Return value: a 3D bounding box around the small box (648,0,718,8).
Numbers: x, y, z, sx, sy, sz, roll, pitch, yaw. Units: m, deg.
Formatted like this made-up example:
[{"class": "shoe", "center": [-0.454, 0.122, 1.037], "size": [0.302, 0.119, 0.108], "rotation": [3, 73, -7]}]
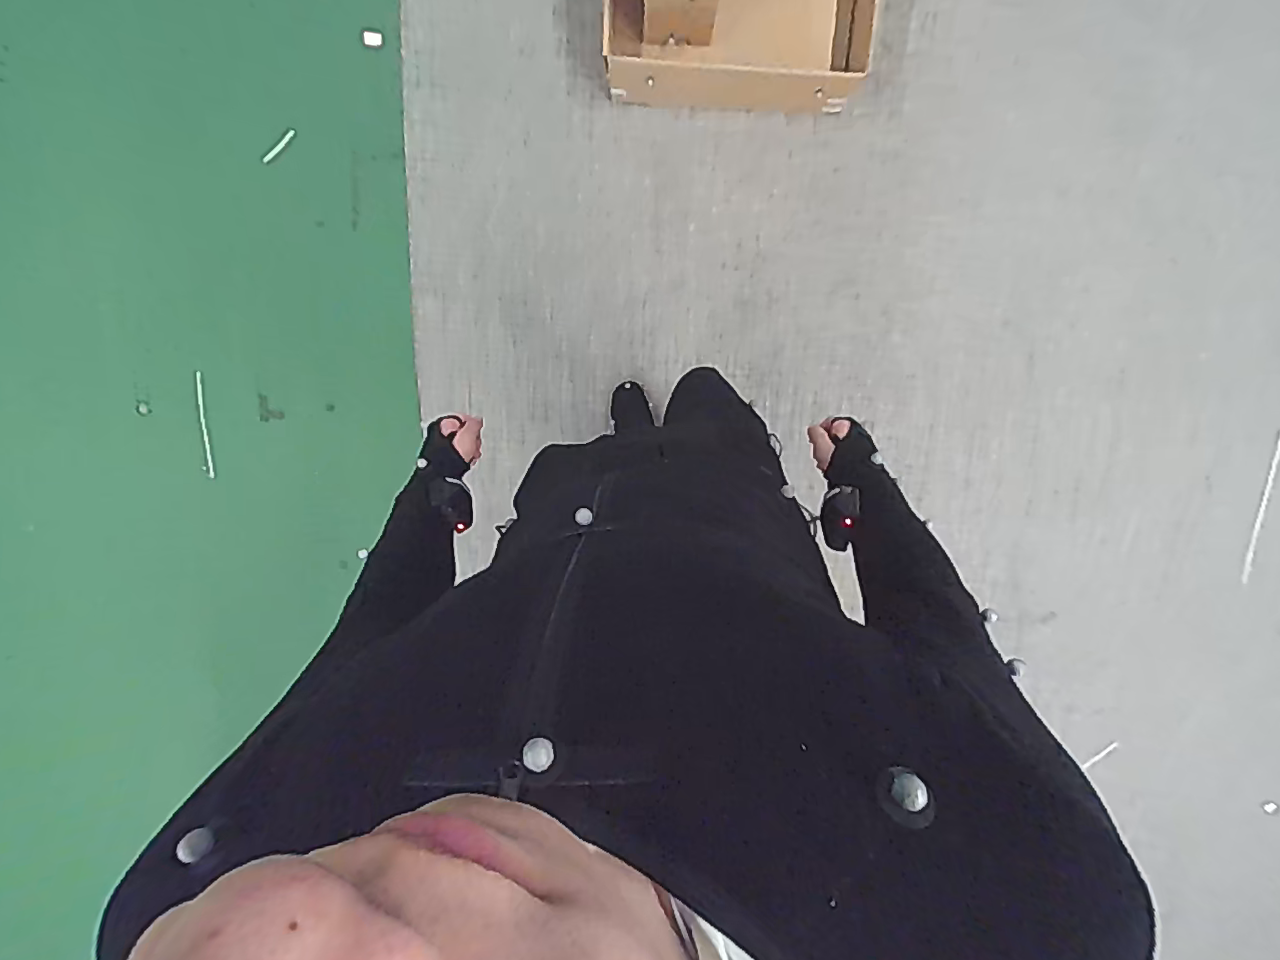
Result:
[{"class": "small box", "center": [0.090, -1.103, 1.082], "size": [0.168, 0.176, 0.179], "rotation": [1, 102, 1]}]
